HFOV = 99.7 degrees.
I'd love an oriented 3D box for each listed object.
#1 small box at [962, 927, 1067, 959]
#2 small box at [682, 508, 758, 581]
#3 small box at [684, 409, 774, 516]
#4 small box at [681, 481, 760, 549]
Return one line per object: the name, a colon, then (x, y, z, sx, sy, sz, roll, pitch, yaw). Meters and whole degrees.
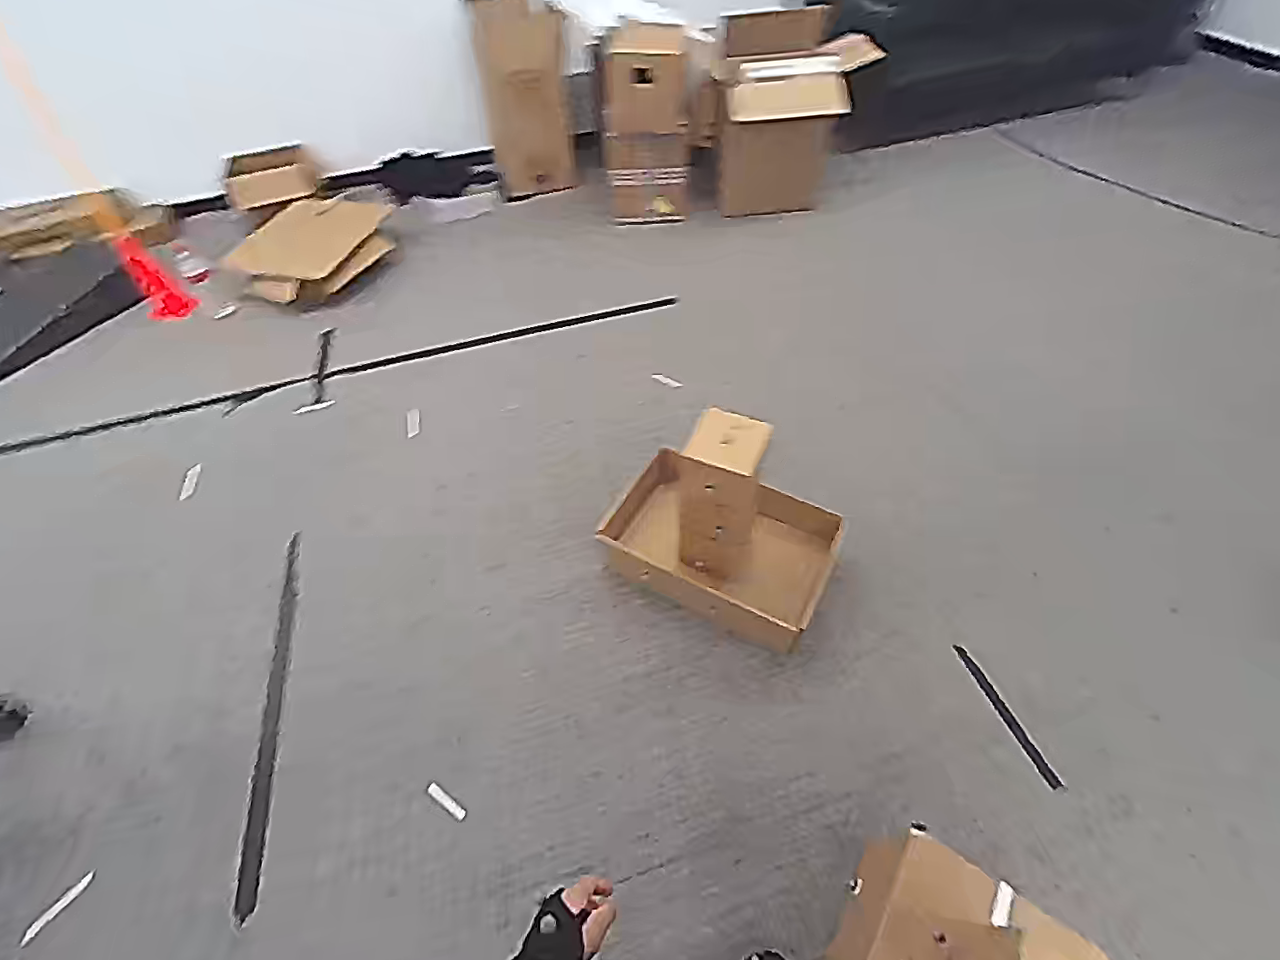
small box: (0.479, 0.670, 0.629, 0.179, 0.176, 0.168, 27, 59, 23)
small box: (0.229, 0.163, 1.590, 0.168, 0.176, 0.179, 24, 57, 20)
small box: (0.216, -0.040, 1.333, 0.168, 0.176, 0.179, 20, 56, 16)
small box: (0.218, 0.059, 1.466, 0.168, 0.176, 0.179, 21, 55, 17)
